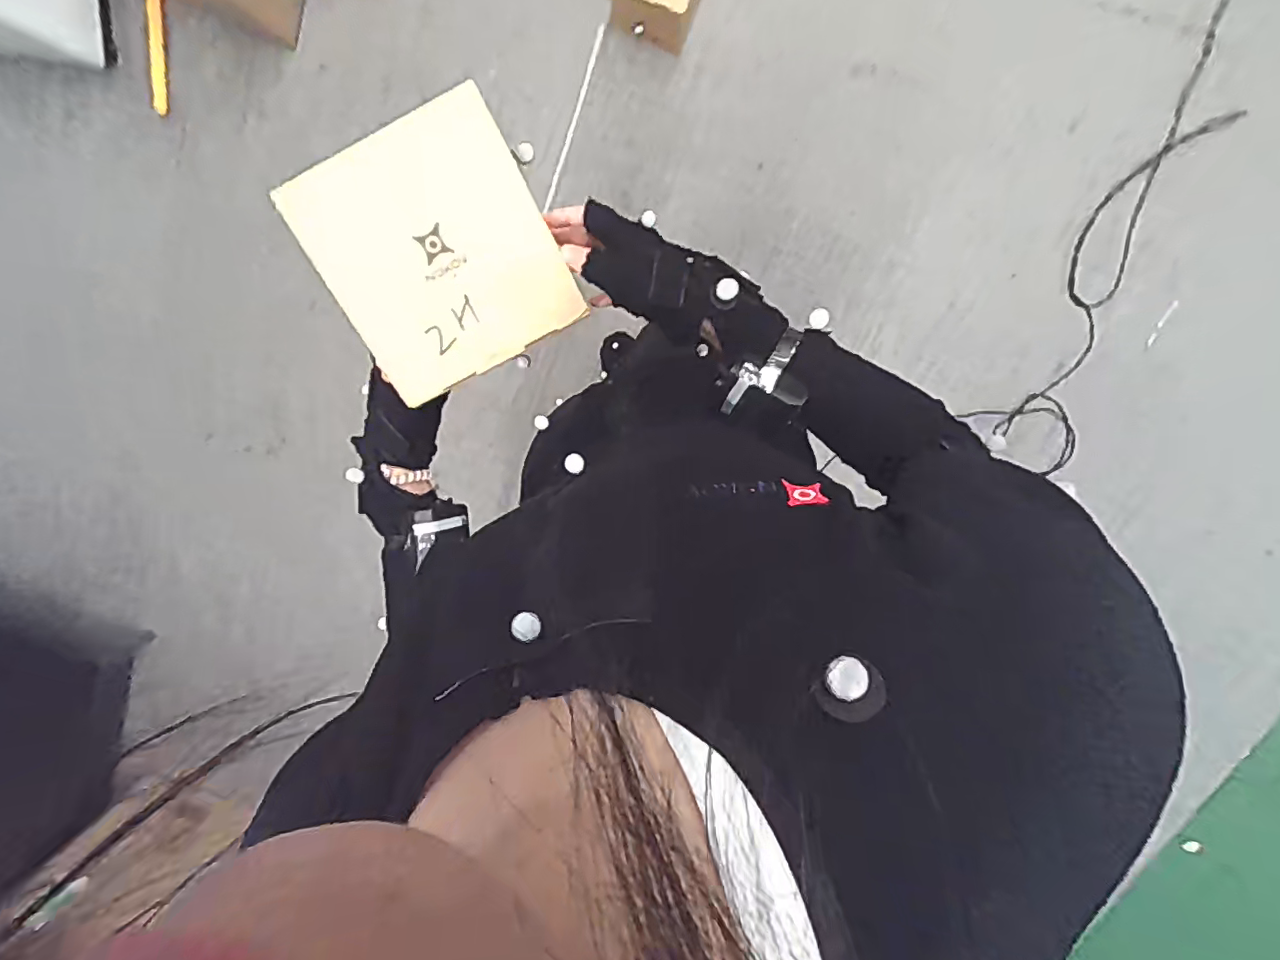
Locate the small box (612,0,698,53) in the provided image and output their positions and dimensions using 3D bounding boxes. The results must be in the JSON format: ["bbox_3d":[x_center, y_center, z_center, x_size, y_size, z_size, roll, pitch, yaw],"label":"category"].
[{"bbox_3d":[0.040,-1.037,1.109,0.168,0.176,0.179,20,106,-4],"label":"small box"}]

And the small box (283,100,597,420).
[{"bbox_3d":[-0.149,-0.175,0.474,0.168,0.176,0.179,-27,107,4],"label":"small box"}]
